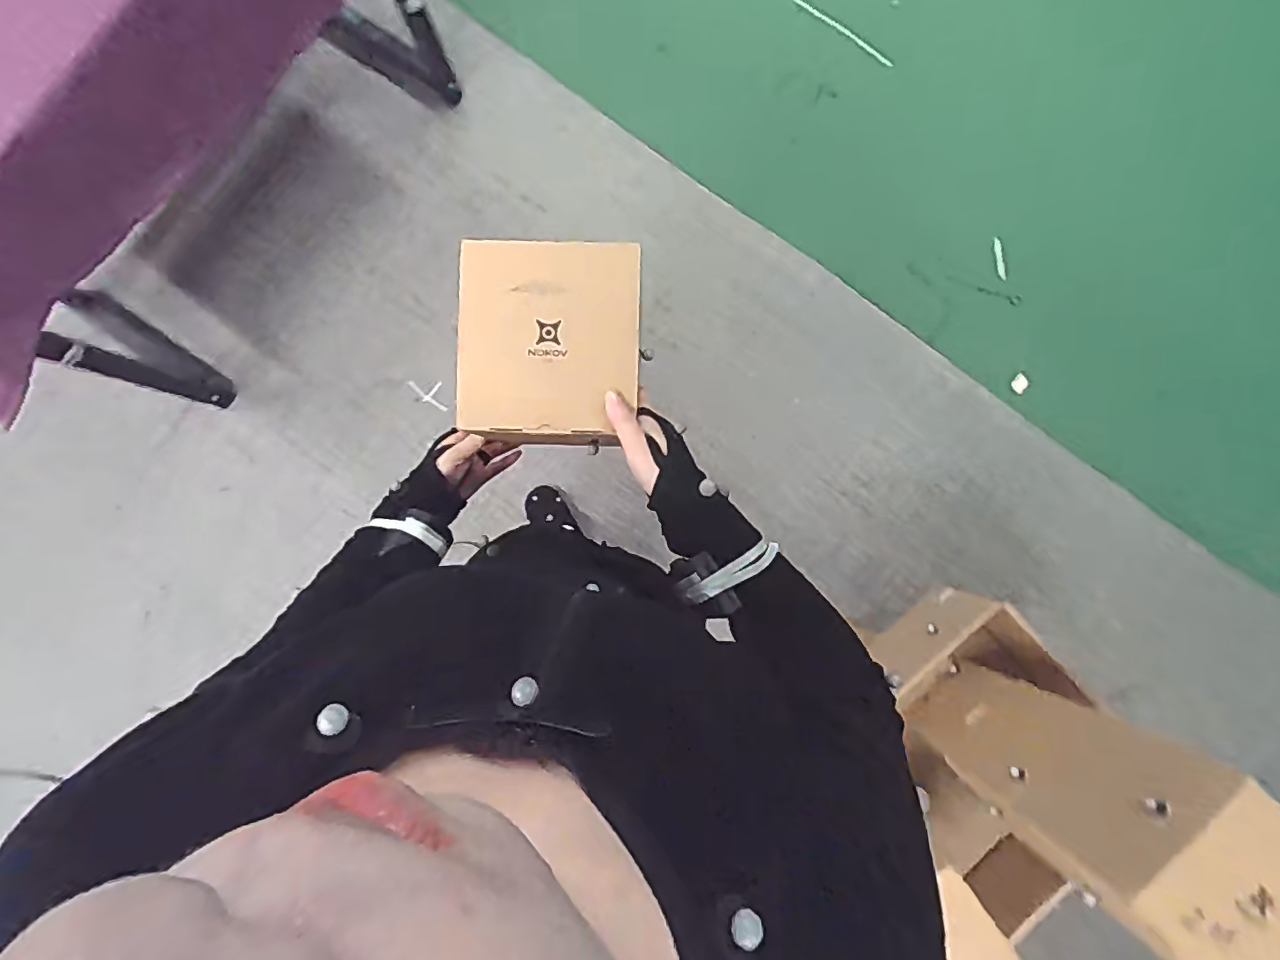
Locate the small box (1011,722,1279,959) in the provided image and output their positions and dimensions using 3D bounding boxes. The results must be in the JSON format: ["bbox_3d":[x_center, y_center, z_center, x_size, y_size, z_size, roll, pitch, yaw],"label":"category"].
[{"bbox_3d":[0.579,0.413,0.609,0.179,0.176,0.168,-42,86,-2],"label":"small box"}]

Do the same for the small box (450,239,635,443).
[{"bbox_3d":[-0.090,-0.131,0.573,0.168,0.176,0.179,1,90,-1],"label":"small box"}]

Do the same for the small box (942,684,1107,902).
[{"bbox_3d":[0.583,0.427,0.773,0.179,0.176,0.168,-42,86,-2],"label":"small box"}]
